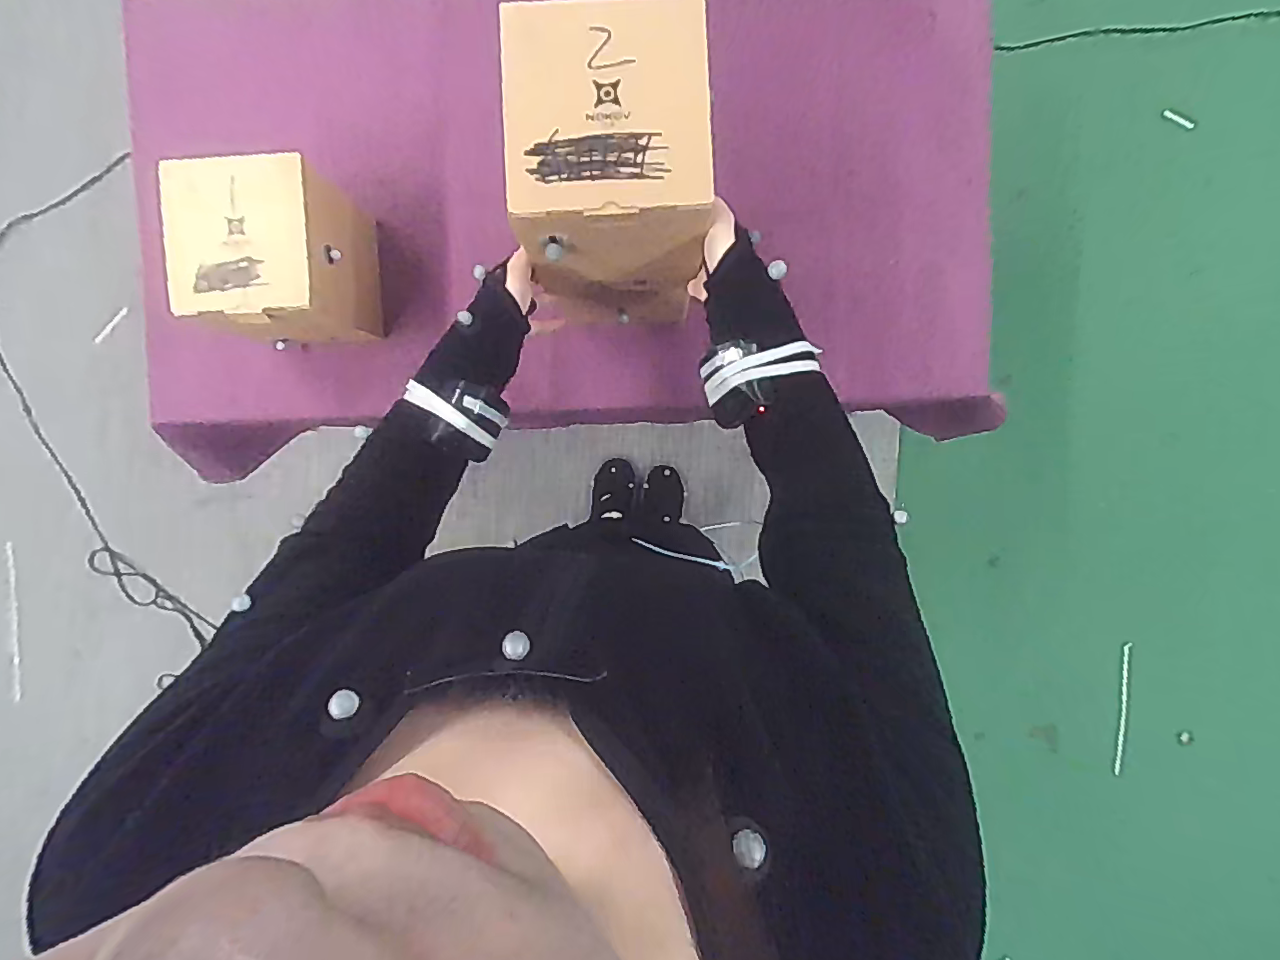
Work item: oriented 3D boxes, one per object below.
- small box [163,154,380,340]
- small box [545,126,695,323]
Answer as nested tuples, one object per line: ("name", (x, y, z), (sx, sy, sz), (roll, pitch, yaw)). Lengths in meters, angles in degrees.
("small box", (-0.454, -0.282, 0.694), (0.168, 0.176, 0.179), (-2, 92, 1))
("small box", (-0.021, -0.307, 0.679), (0.168, 0.176, 0.179), (1, 93, 2))
